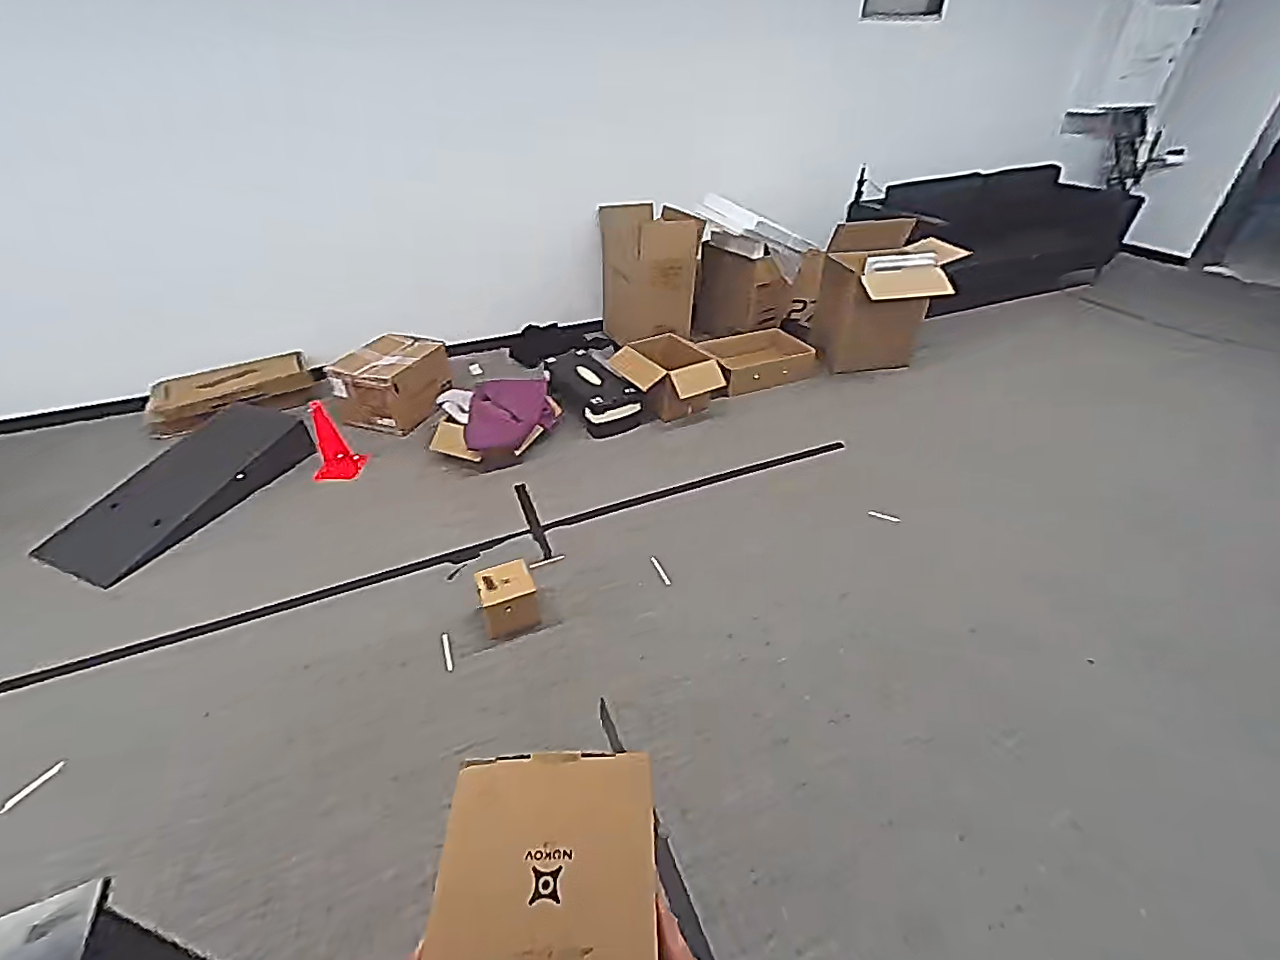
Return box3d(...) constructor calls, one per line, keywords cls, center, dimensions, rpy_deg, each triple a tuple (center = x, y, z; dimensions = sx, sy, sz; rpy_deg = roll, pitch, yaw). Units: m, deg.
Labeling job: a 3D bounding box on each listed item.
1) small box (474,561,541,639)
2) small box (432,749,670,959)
box3d(cls="small box", center=(-0.454, 0.416, 1.862), dimensions=(0.179, 0.176, 0.168), rpy_deg=(-16, 40, -20))
box3d(cls="small box", center=(-0.061, 0.353, 0.463), dimensions=(0.168, 0.176, 0.179), rpy_deg=(-2, 45, 0))
